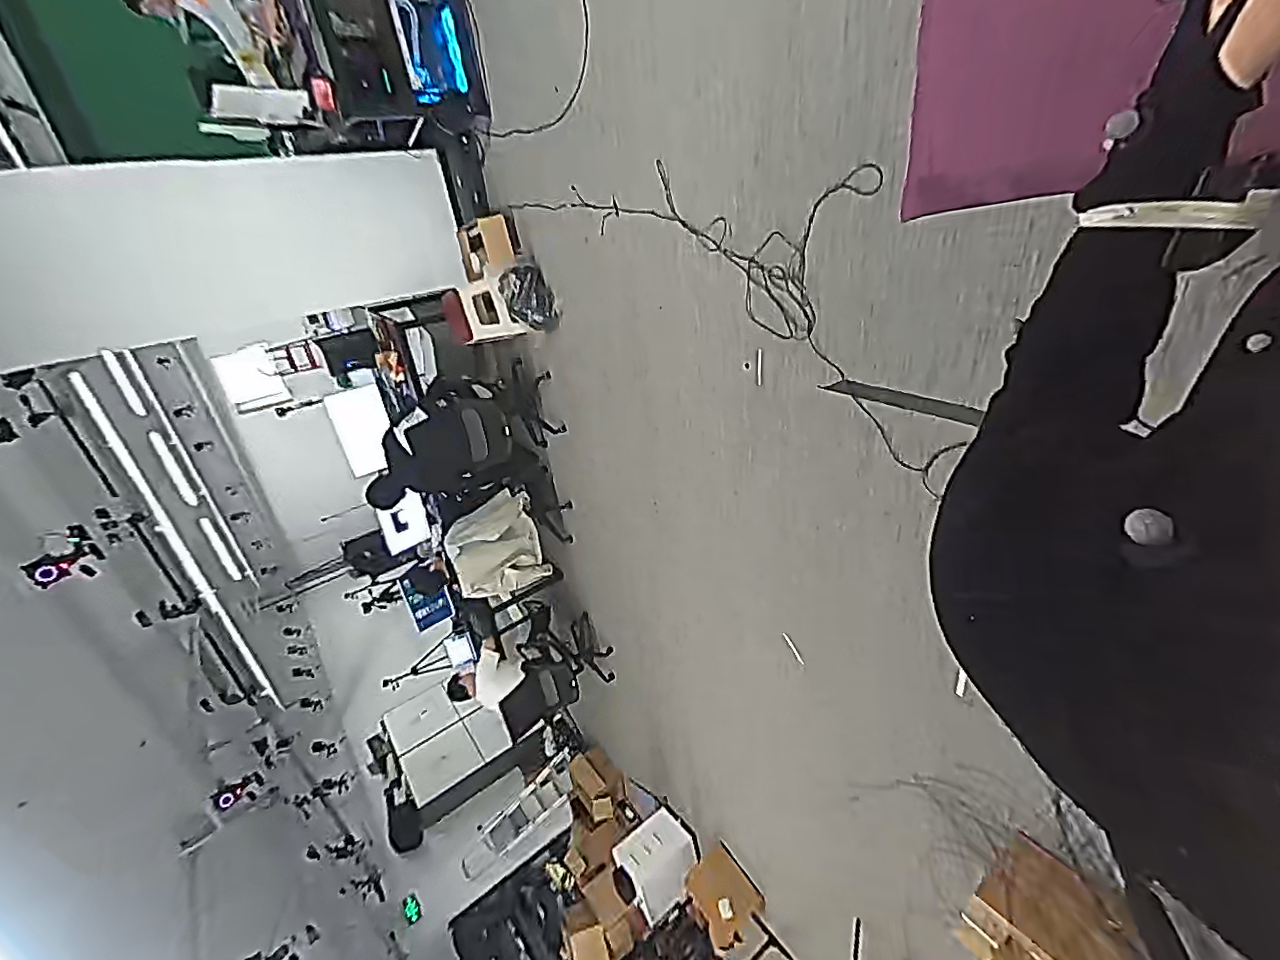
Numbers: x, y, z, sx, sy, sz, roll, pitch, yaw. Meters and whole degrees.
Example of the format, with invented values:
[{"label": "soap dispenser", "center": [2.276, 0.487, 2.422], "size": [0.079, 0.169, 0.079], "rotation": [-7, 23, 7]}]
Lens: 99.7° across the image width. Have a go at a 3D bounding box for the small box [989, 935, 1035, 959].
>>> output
[{"label": "small box", "center": [1.129, 1.531, 1.612], "size": [0.179, 0.176, 0.168], "rotation": [28, 133, 48]}]
